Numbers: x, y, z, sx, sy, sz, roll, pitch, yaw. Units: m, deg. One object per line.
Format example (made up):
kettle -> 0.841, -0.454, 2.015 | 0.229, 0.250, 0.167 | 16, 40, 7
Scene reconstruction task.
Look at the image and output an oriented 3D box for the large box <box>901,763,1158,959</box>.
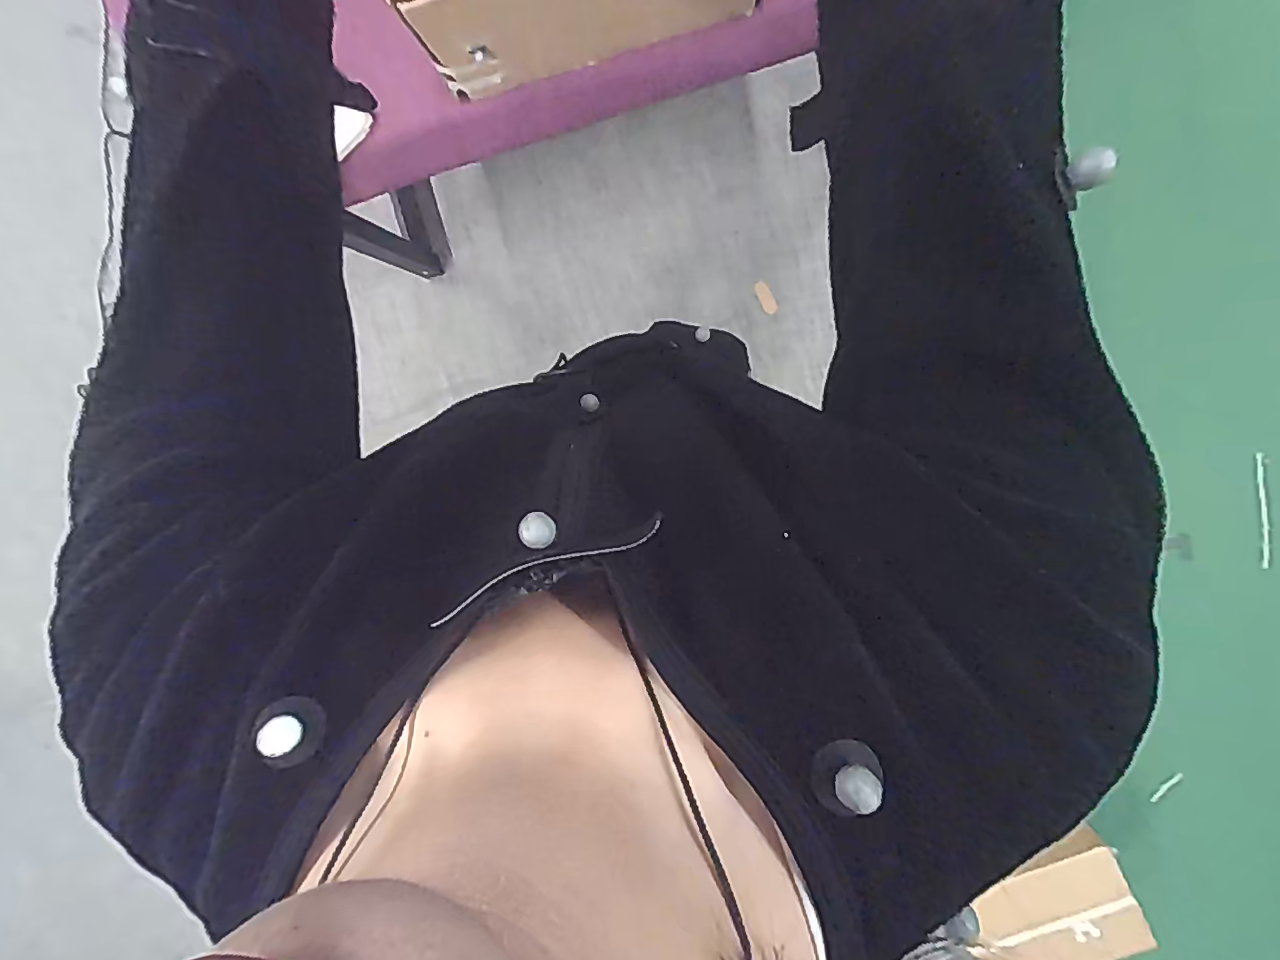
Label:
large box -> 1.002, 1.053, 1.446 | 0.408, 0.320, 0.320 | -28, 97, 8
